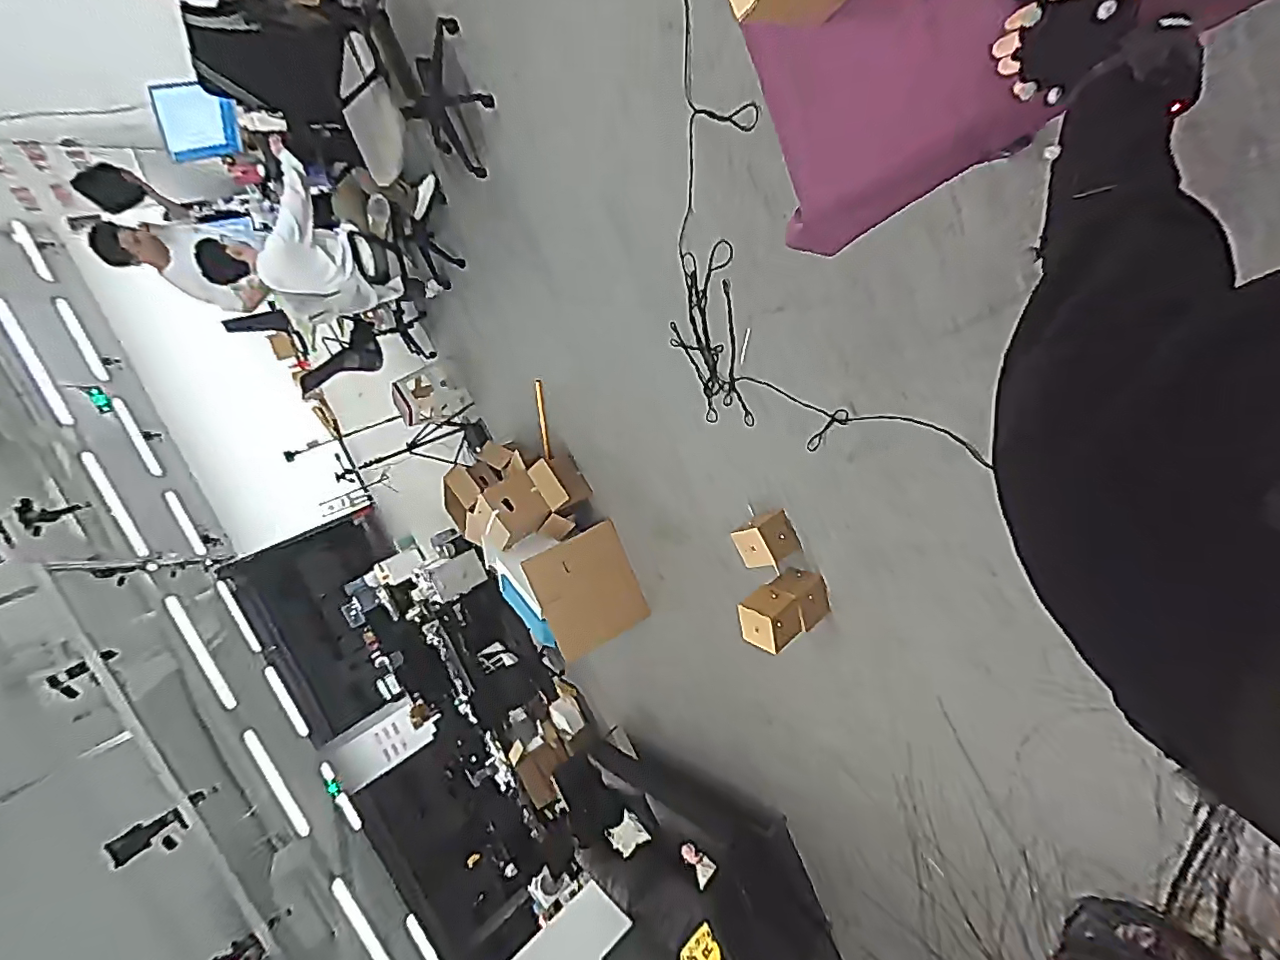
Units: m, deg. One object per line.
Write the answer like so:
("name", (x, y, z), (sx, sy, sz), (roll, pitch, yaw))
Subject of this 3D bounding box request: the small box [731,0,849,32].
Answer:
("small box", (0.193, -0.647, 0.598), (0.168, 0.176, 0.179), (-7, 108, 57))

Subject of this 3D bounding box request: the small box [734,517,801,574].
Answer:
("small box", (0.525, 0.264, 2.194), (0.179, 0.176, 0.168), (-26, 92, 59))

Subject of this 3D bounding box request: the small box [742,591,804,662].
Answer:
("small box", (0.527, 0.569, 2.119), (0.168, 0.176, 0.179), (15, 124, 51))
